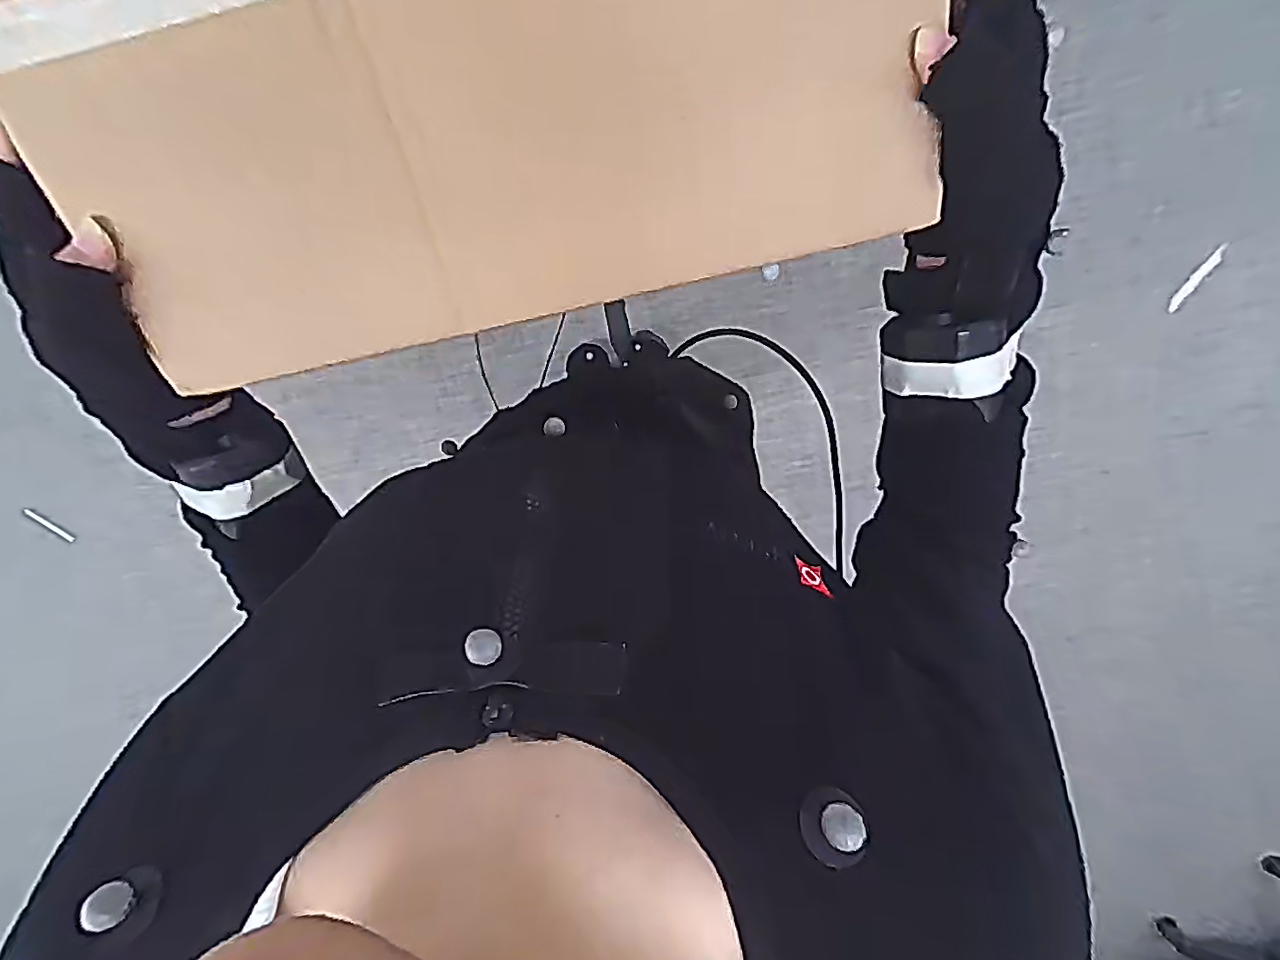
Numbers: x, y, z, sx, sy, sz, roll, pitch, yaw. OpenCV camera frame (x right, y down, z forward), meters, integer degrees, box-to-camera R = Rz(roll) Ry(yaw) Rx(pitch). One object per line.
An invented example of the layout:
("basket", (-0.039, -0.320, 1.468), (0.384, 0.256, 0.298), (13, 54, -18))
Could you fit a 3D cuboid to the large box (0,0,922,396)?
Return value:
("large box", (-0.087, -0.288, 0.353), (0.408, 0.320, 0.320), (-11, 116, 5))
